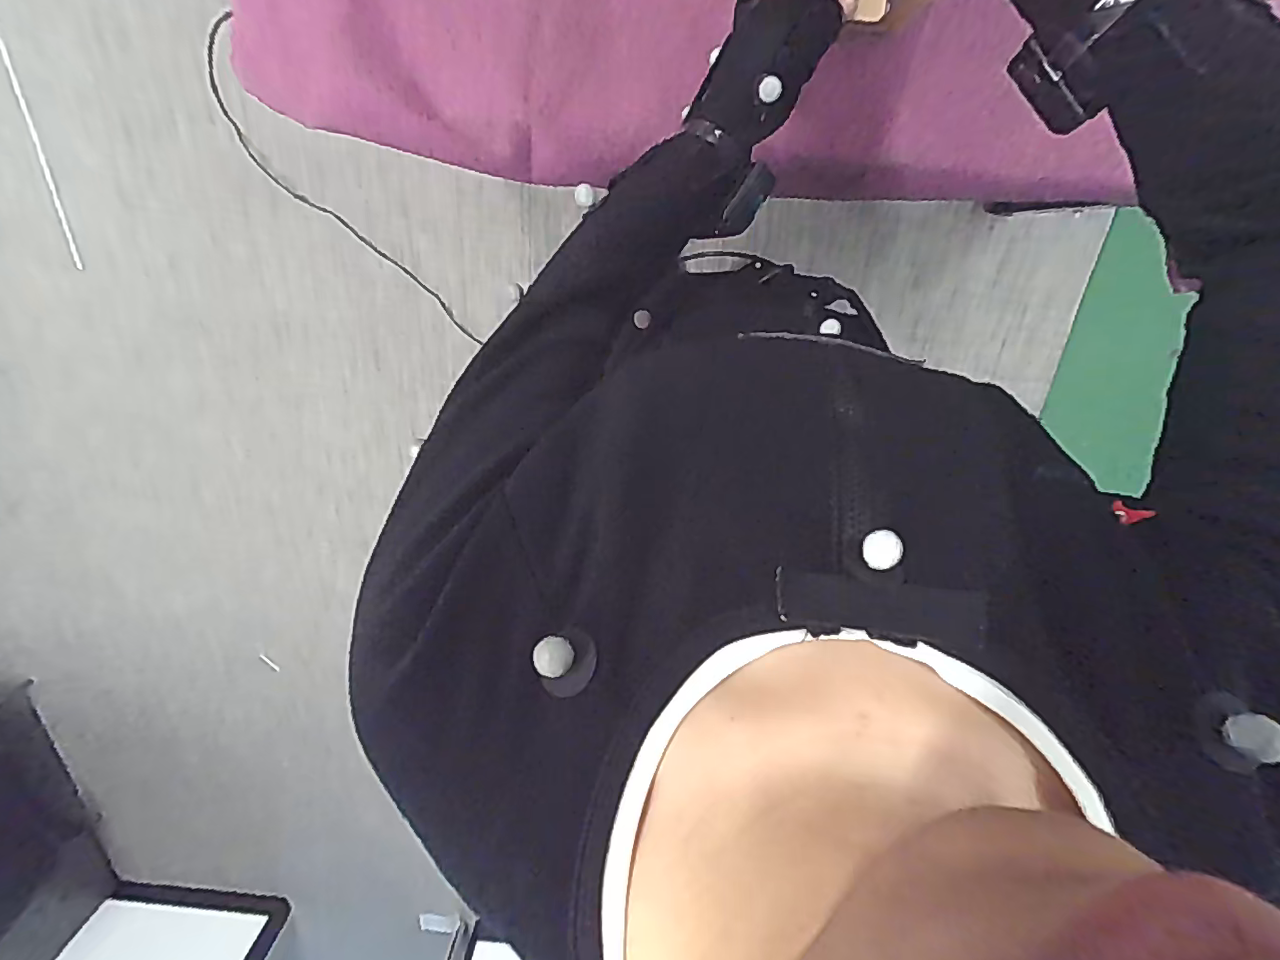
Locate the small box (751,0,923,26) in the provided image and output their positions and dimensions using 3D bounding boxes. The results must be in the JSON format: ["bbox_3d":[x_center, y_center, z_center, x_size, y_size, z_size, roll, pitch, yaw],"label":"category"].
[{"bbox_3d":[0.181,-0.498,0.429,0.168,0.176,0.179,5,114,1],"label":"small box"}]
